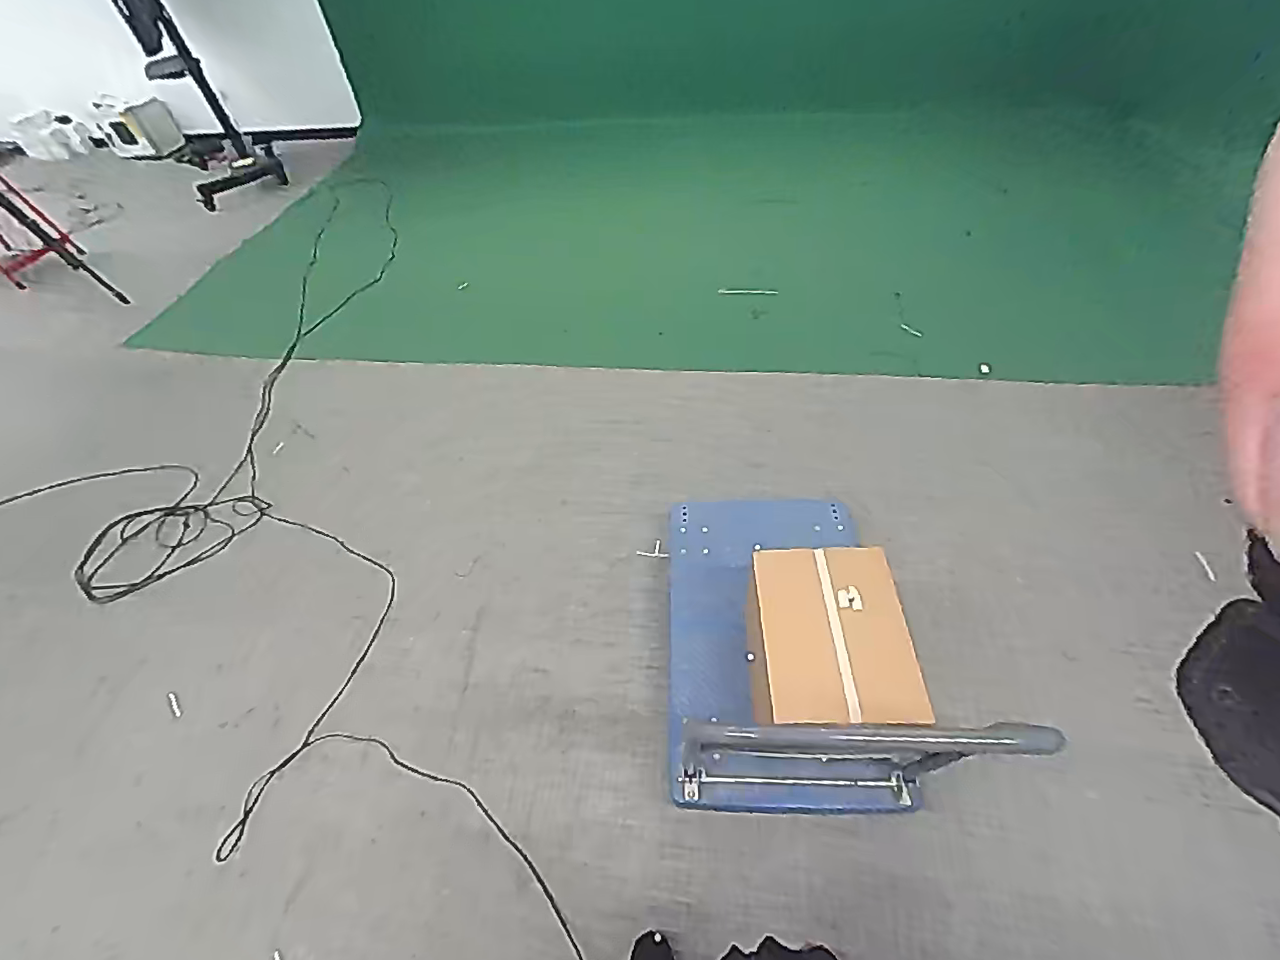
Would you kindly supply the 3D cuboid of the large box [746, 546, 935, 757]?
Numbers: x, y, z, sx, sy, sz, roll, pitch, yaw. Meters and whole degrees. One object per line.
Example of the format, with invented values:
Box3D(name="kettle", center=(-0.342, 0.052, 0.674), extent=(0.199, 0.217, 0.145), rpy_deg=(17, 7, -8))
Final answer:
Box3D(name="large box", center=(0.439, 0.412, 1.298), extent=(0.320, 0.320, 0.408), rpy_deg=(-1, 50, 3))
